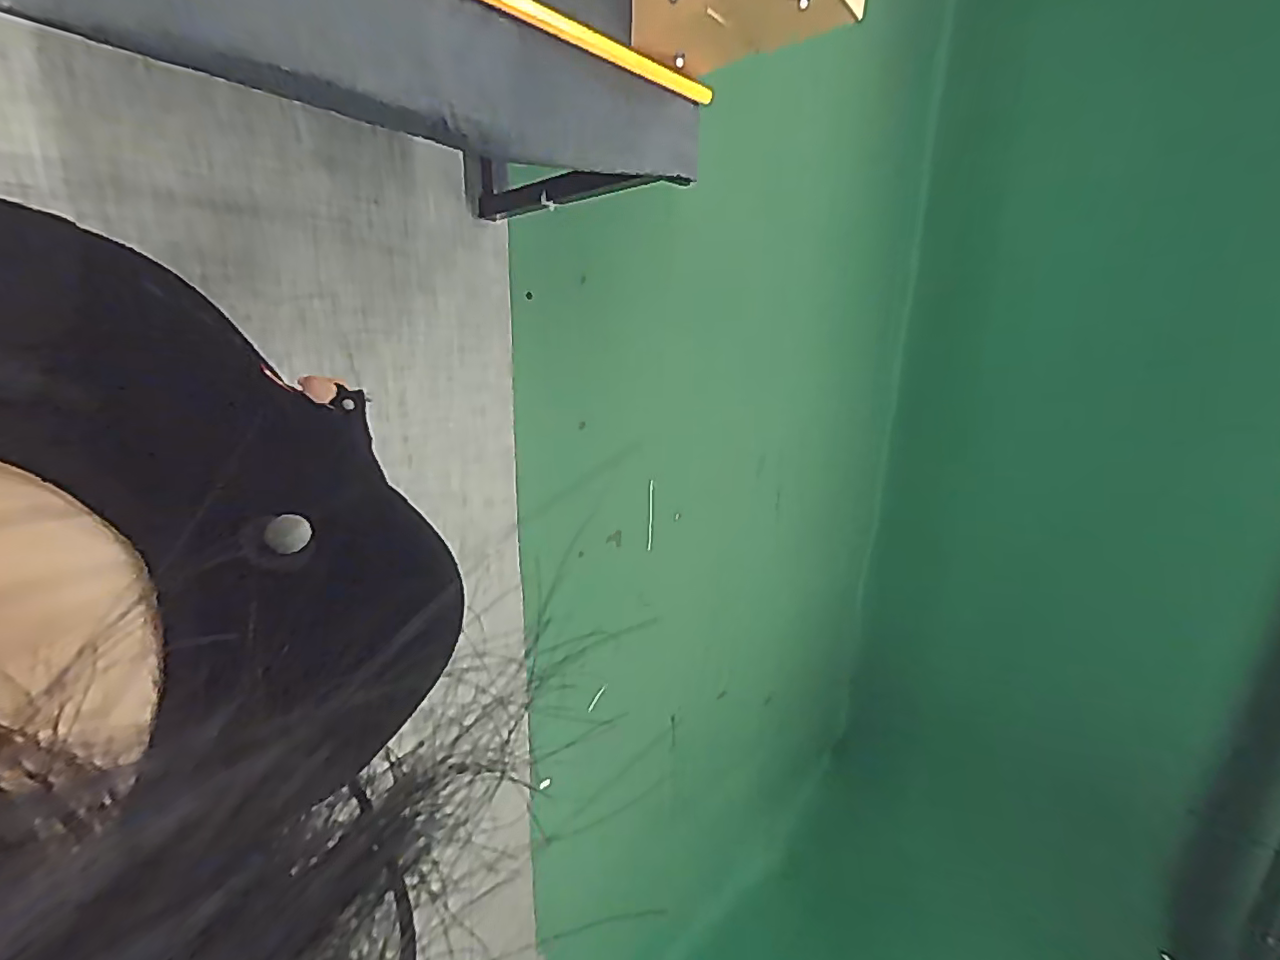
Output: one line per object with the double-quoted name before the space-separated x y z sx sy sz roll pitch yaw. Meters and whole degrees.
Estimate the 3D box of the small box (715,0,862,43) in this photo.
"small box" 0.216 -0.781 0.783 0.179 0.176 0.168 -8 109 -45
